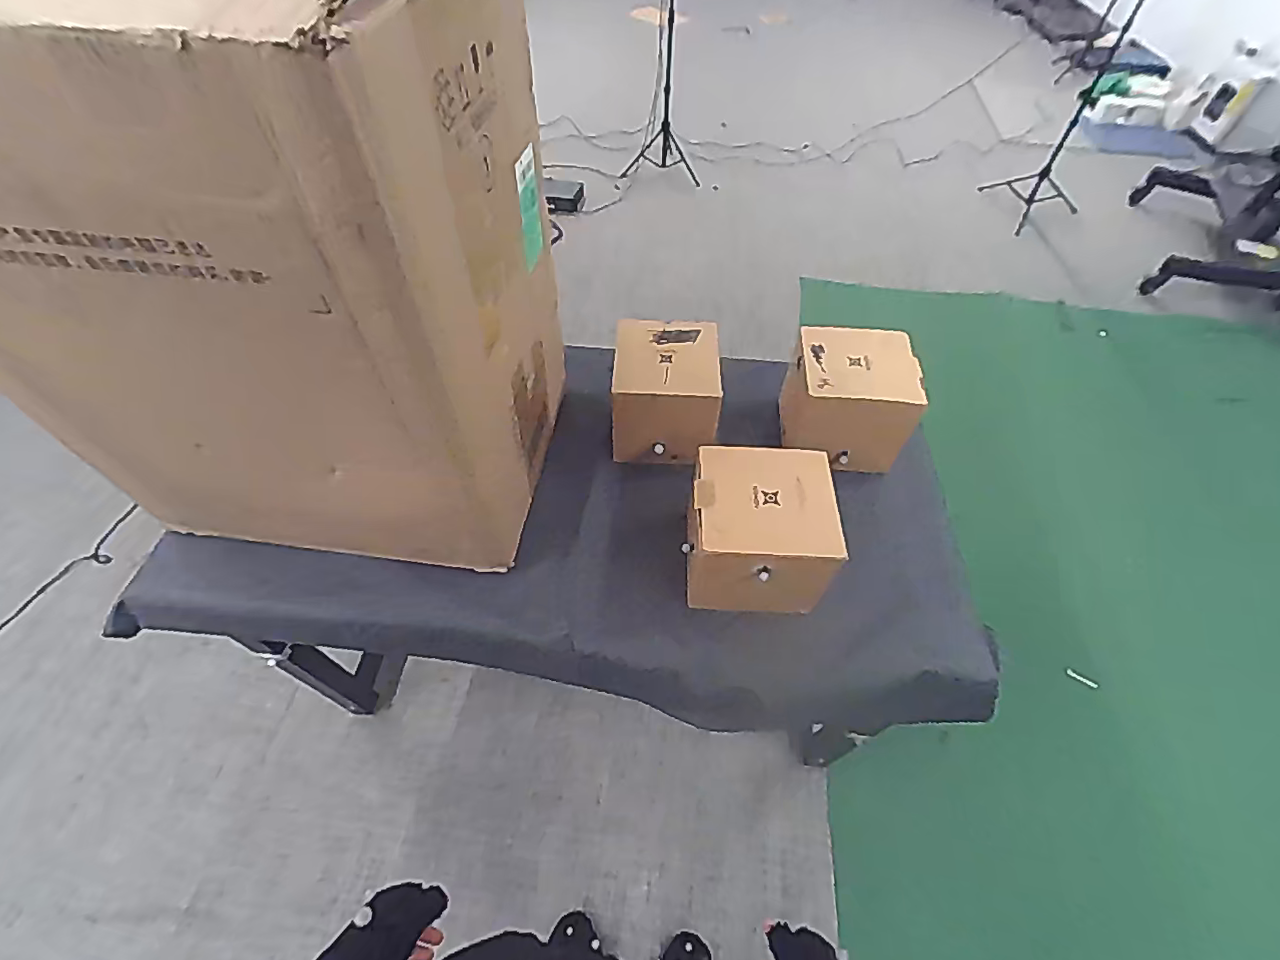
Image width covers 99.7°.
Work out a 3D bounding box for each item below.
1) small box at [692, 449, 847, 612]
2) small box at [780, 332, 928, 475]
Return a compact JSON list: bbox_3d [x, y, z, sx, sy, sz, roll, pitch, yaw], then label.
[{"bbox_3d":[0.165,0.075,0.758,0.179,0.176,0.168,3,54,0],"label":"small box"},{"bbox_3d":[0.346,-0.124,0.911,0.179,0.176,0.168,5,51,3],"label":"small box"}]
